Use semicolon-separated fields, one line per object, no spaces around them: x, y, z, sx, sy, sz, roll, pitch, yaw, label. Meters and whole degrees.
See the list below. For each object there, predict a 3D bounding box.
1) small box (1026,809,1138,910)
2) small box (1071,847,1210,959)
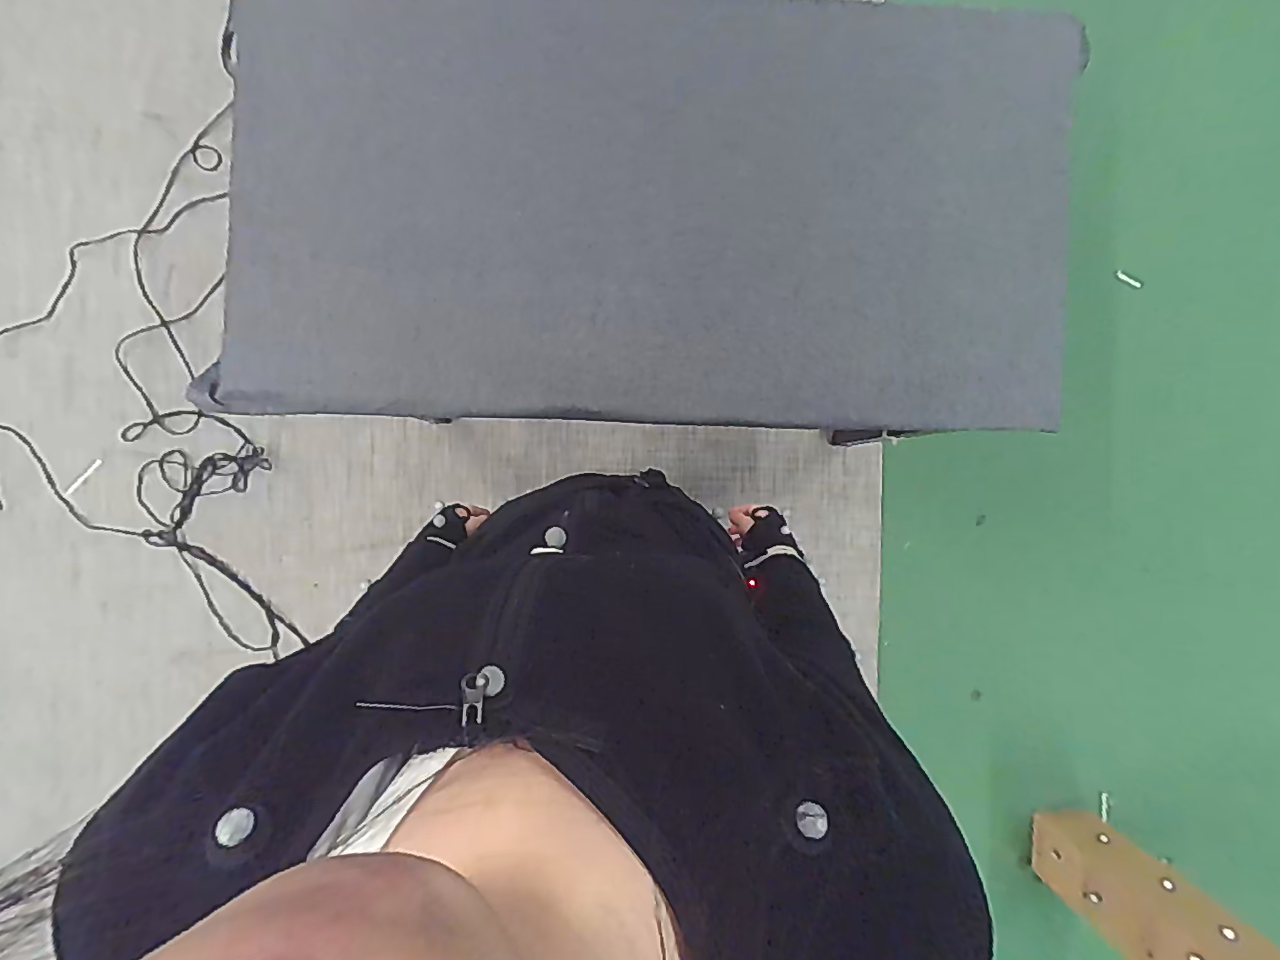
1.186;1.021;1.462;0.179;0.176;0.168;2;90;-2;small box
1.192;1.019;1.297;0.179;0.176;0.168;4;90;-2;small box
